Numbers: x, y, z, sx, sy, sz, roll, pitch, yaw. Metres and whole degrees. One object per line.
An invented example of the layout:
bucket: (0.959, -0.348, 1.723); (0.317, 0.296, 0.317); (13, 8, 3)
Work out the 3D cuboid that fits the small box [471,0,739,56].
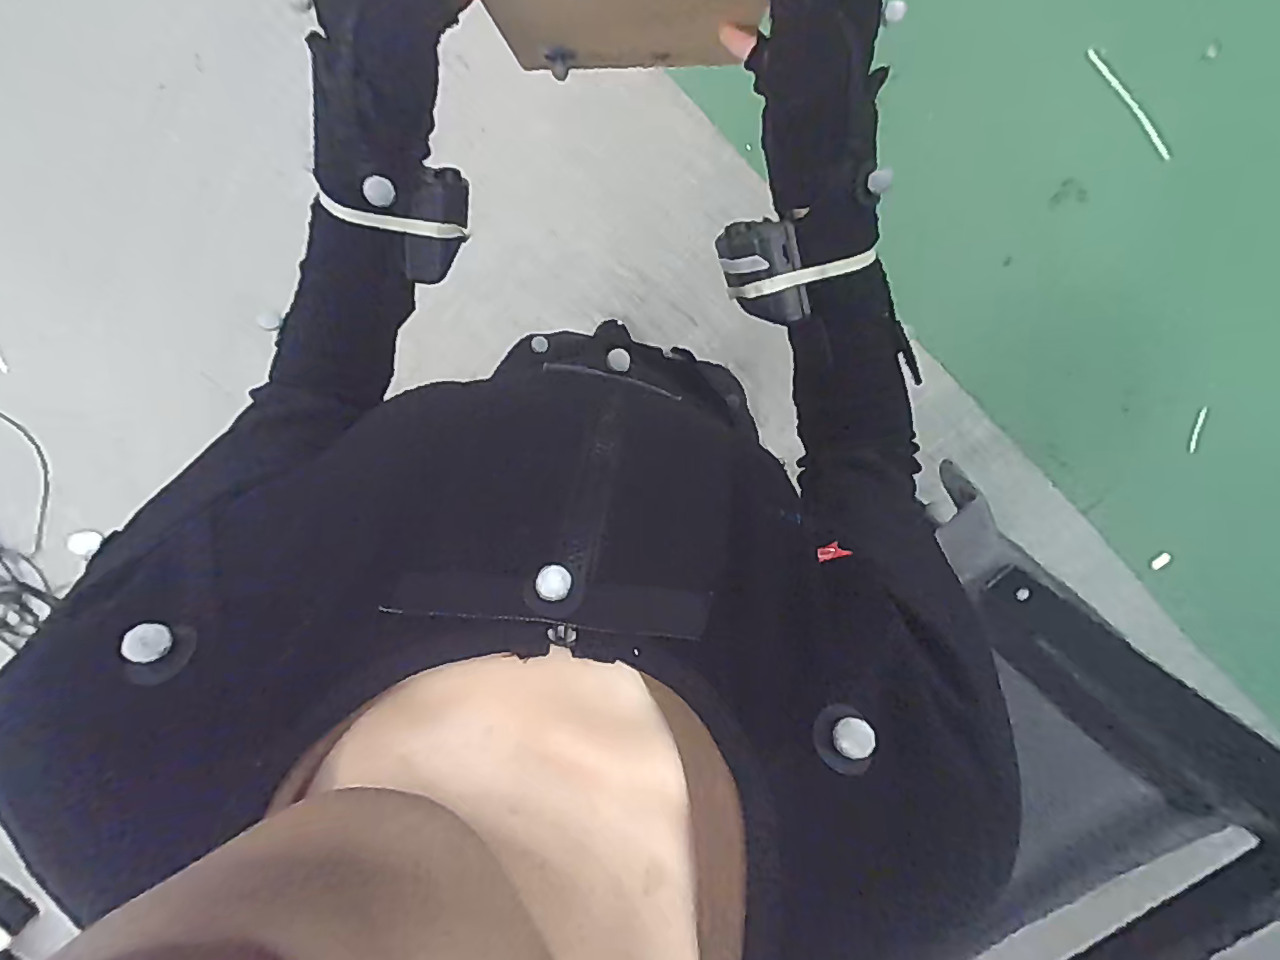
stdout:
small box: (-0.021, -0.359, 0.293); (0.168, 0.176, 0.179); (-1, 110, 1)
